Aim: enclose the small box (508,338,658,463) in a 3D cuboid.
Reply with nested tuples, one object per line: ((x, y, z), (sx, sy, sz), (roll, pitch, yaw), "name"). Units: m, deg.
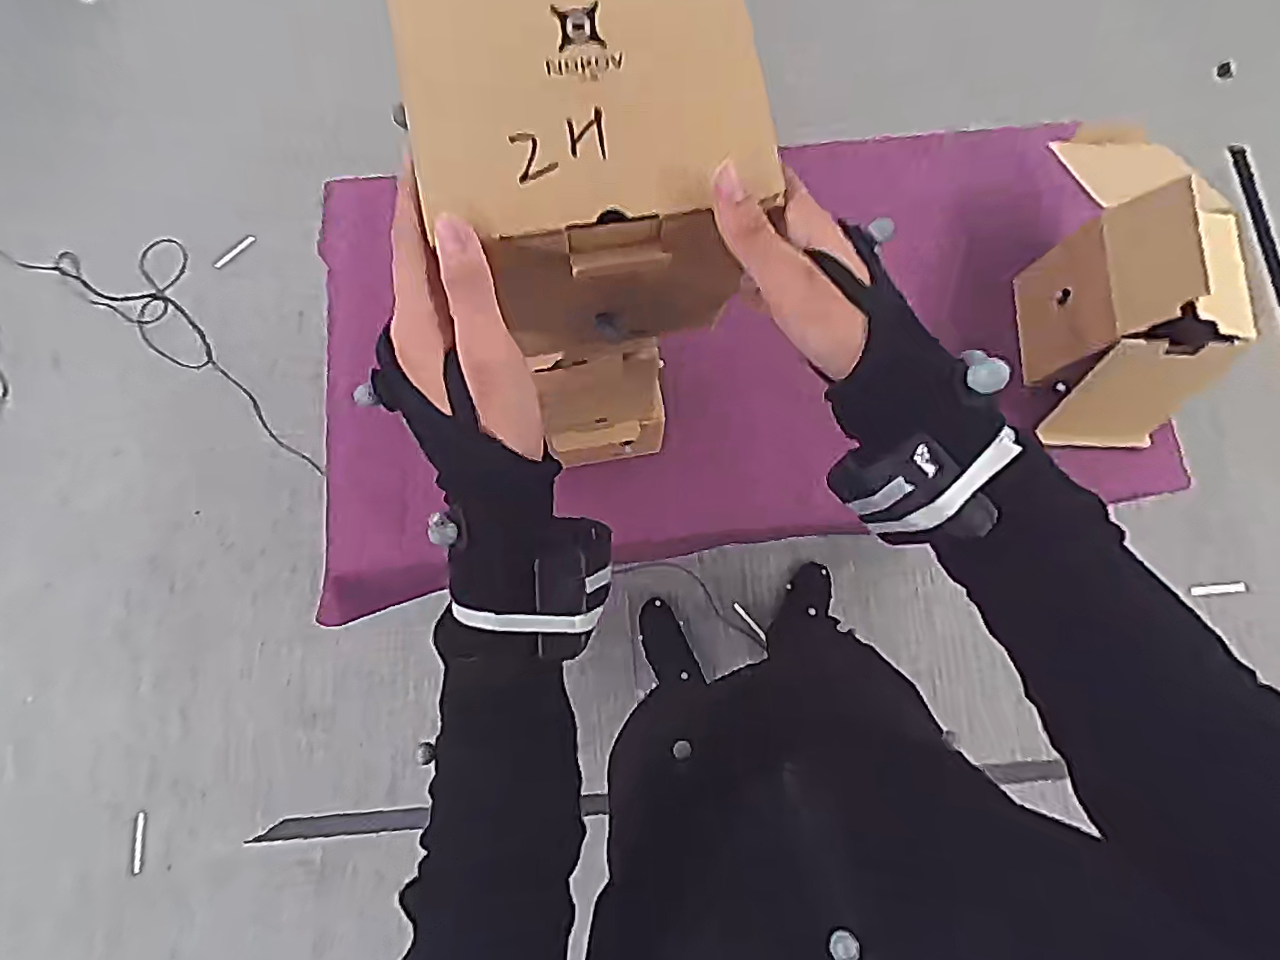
((-0.071, -0.125, 0.709), (0.168, 0.176, 0.179), (-9, 80, -3), "small box")

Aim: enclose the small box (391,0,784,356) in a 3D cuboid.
((-0.034, -0.192, 0.325), (0.168, 0.176, 0.179), (-10, 87, -5), "small box")
